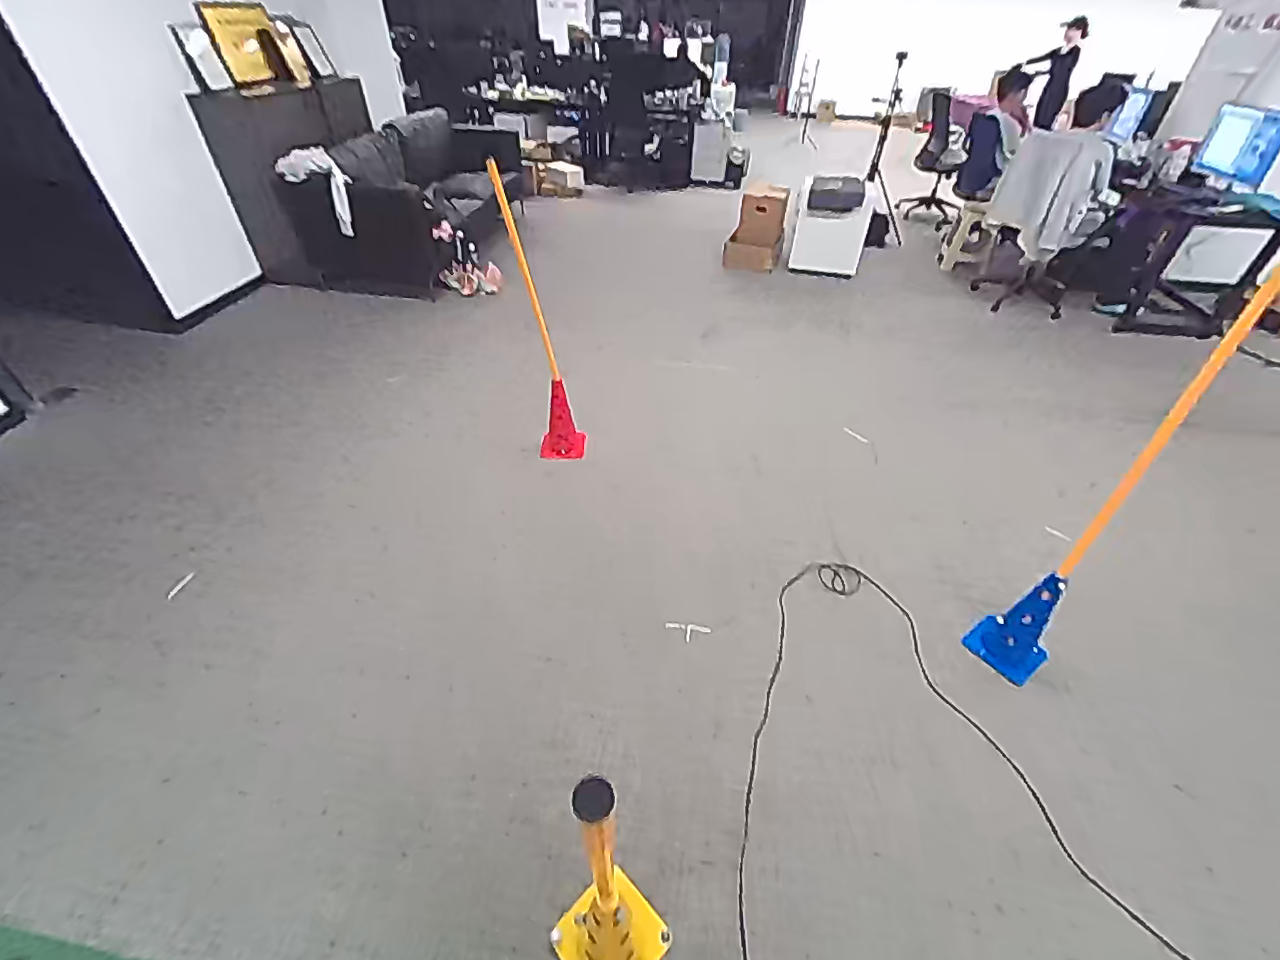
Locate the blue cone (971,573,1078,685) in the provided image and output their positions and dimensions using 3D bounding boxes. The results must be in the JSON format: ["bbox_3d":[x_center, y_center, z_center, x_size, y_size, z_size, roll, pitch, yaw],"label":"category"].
[{"bbox_3d":[1.183,0.414,1.624,0.193,0.380,0.192,-23,46,-30],"label":"blue cone"}]
